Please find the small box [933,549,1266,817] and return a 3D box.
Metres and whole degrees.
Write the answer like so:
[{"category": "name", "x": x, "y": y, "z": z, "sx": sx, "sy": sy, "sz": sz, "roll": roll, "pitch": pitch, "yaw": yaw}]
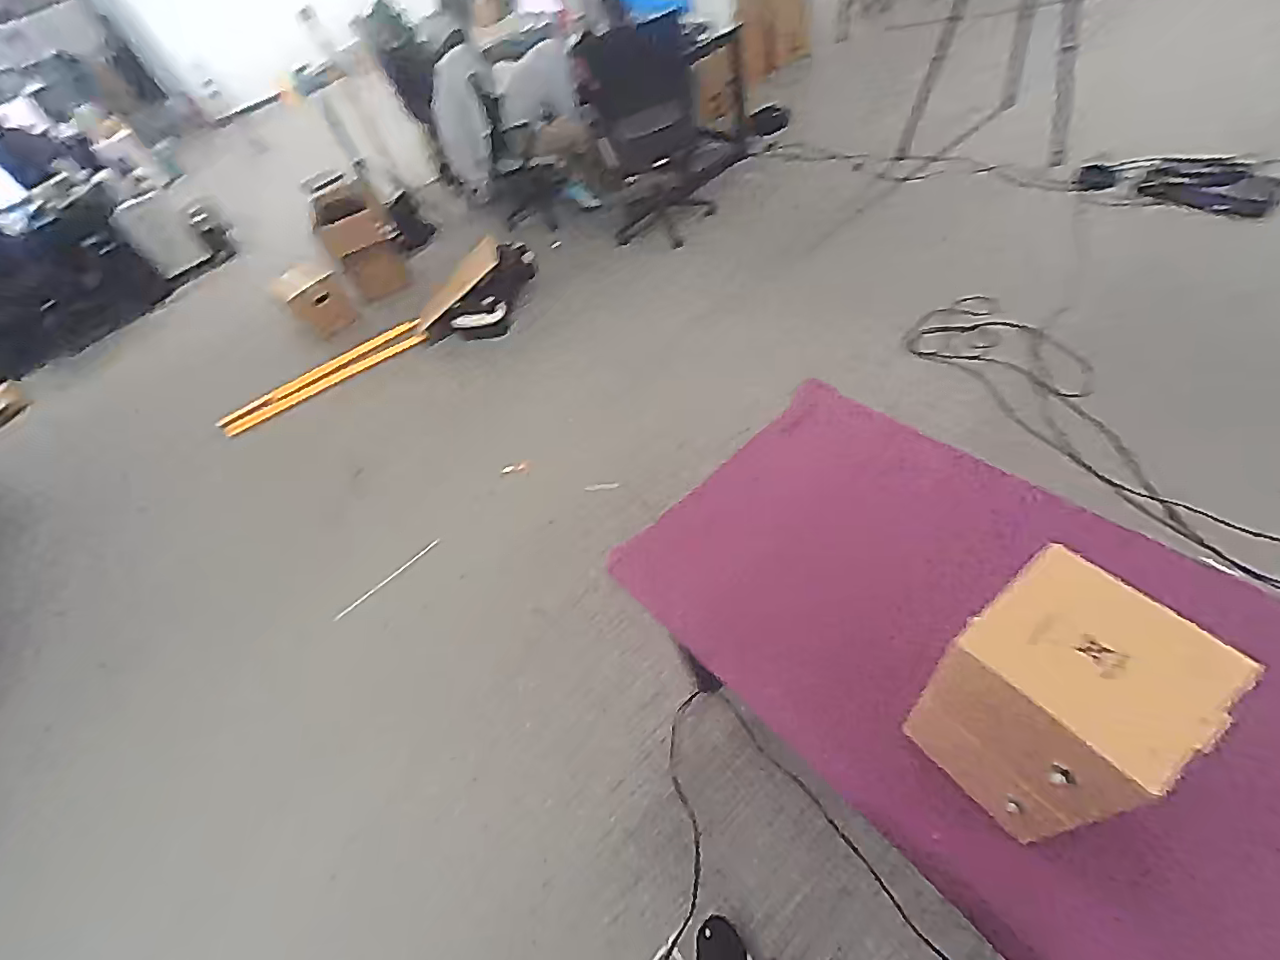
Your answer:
[{"category": "small box", "x": 0.439, "y": 0.212, "z": 0.554, "sx": 0.168, "sy": 0.176, "sz": 0.179, "roll": -35, "pitch": 50, "yaw": -13}]
